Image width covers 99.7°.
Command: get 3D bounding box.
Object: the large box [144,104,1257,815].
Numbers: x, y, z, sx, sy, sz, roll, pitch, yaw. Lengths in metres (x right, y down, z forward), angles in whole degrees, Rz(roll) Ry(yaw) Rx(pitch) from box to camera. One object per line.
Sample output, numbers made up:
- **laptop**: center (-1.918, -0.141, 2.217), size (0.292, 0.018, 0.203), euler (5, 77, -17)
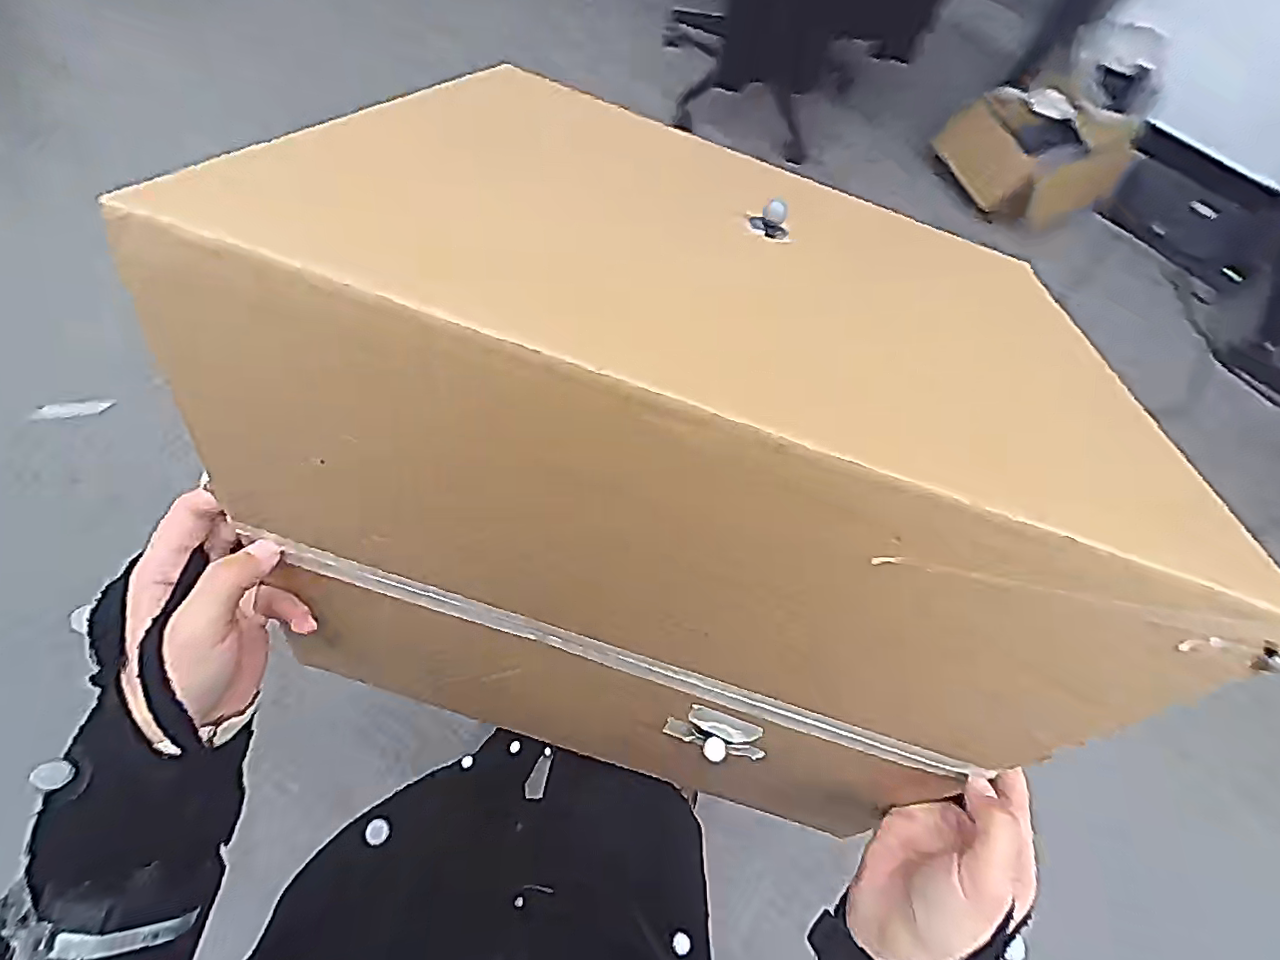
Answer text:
- **large box**: center (0.016, -0.015, 0.390), size (0.408, 0.320, 0.320), euler (17, 46, -3)
